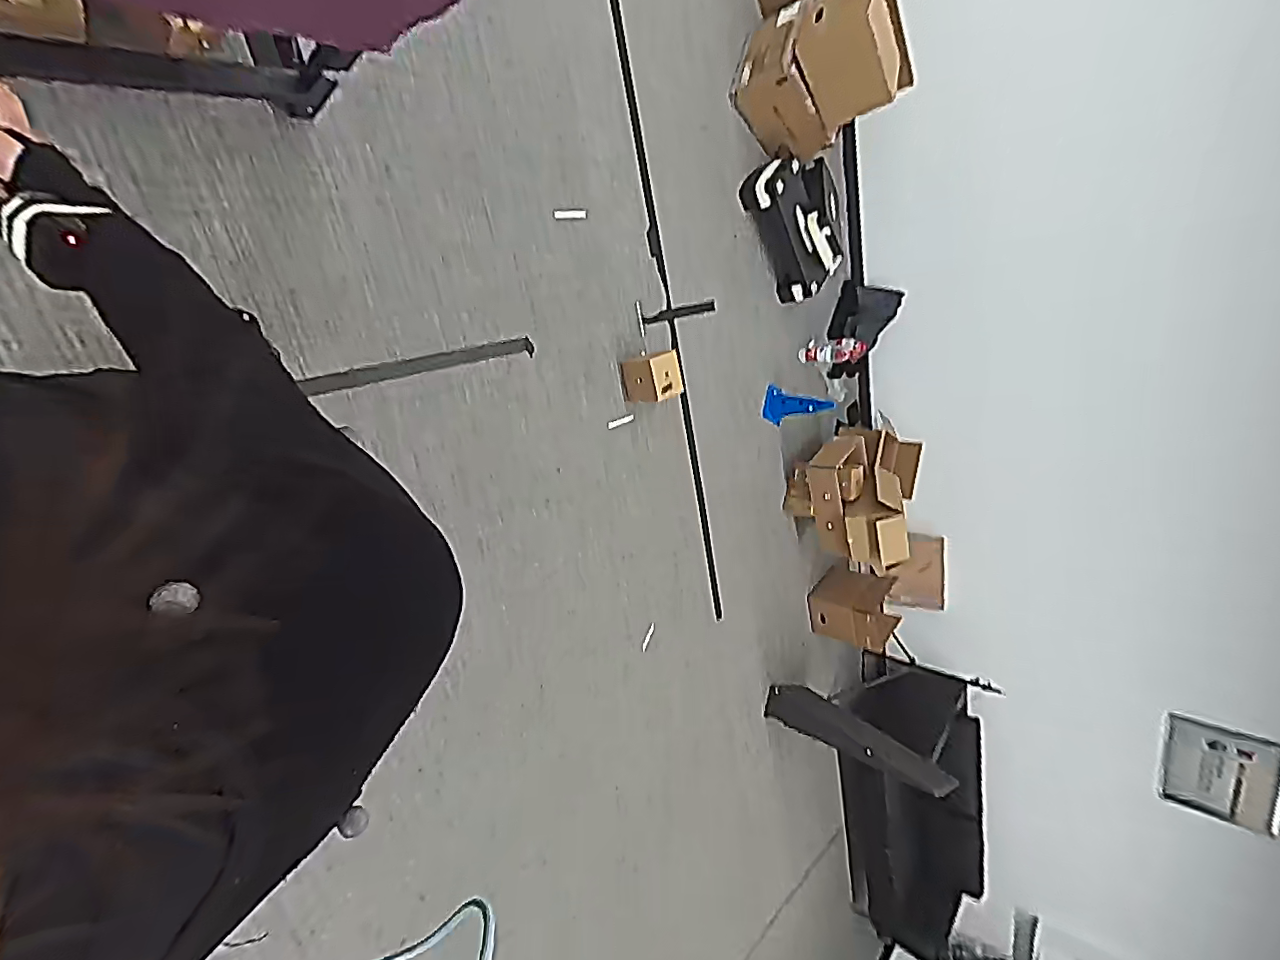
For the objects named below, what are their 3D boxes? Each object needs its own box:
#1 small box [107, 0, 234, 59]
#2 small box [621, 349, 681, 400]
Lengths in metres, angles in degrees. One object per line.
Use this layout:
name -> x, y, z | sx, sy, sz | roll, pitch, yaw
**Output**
small box -> -0.988, -1.022, 1.108 | 0.168, 0.176, 0.179 | -56, 129, -24
small box -> 0.045, -0.438, 2.241 | 0.168, 0.176, 0.179 | -29, 115, -39
